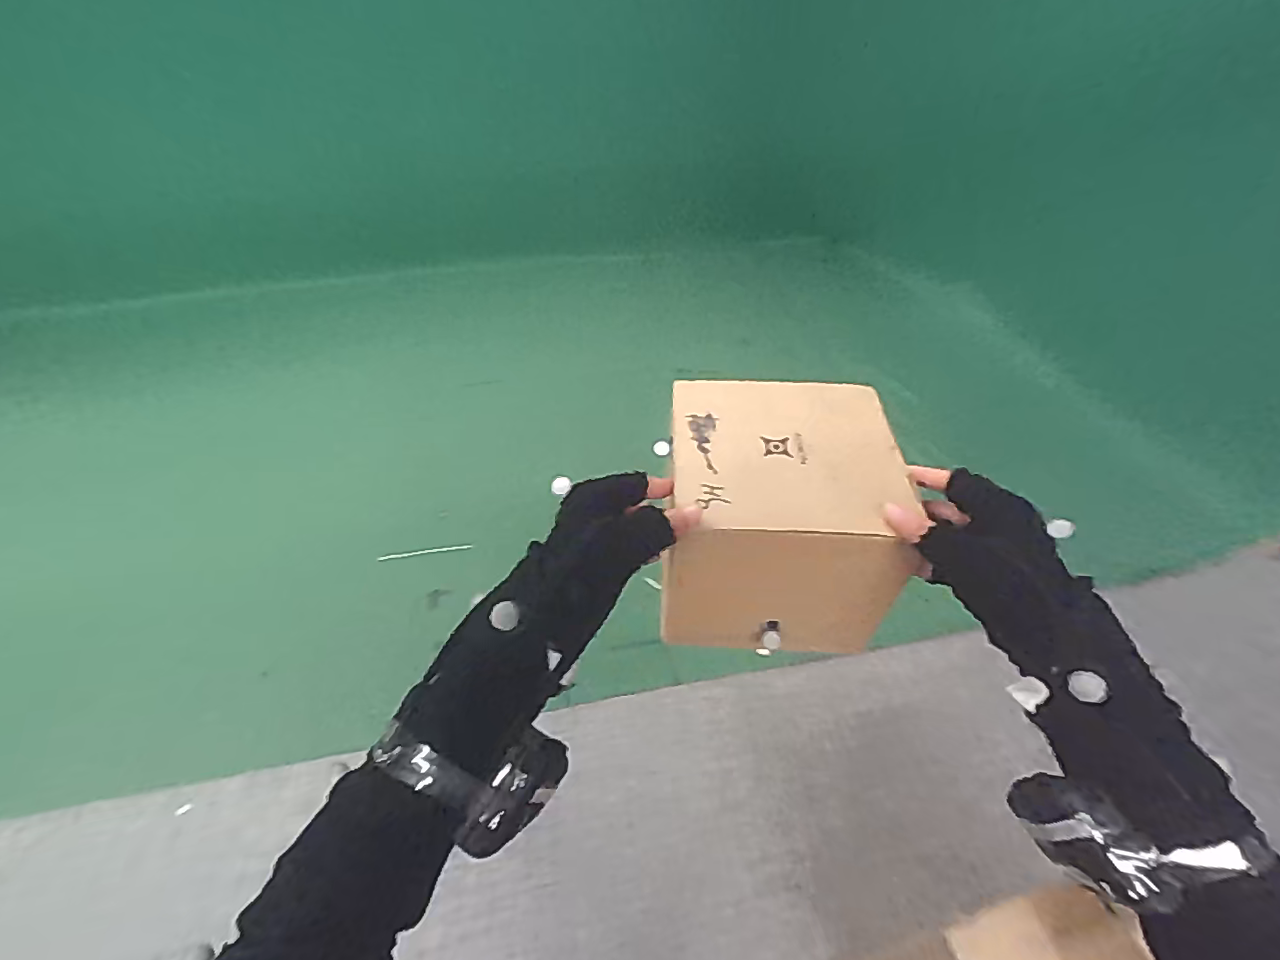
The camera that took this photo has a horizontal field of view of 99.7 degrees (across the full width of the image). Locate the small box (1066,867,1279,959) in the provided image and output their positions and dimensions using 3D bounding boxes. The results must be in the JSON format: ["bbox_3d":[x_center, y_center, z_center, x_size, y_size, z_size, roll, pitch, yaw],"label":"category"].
[{"bbox_3d":[0.581,0.525,0.530,0.168,0.176,0.179,-17,46,-8],"label":"small box"}]

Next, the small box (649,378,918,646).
[{"bbox_3d":[0.103,0.032,0.476,0.179,0.176,0.168,3,46,0],"label":"small box"}]
